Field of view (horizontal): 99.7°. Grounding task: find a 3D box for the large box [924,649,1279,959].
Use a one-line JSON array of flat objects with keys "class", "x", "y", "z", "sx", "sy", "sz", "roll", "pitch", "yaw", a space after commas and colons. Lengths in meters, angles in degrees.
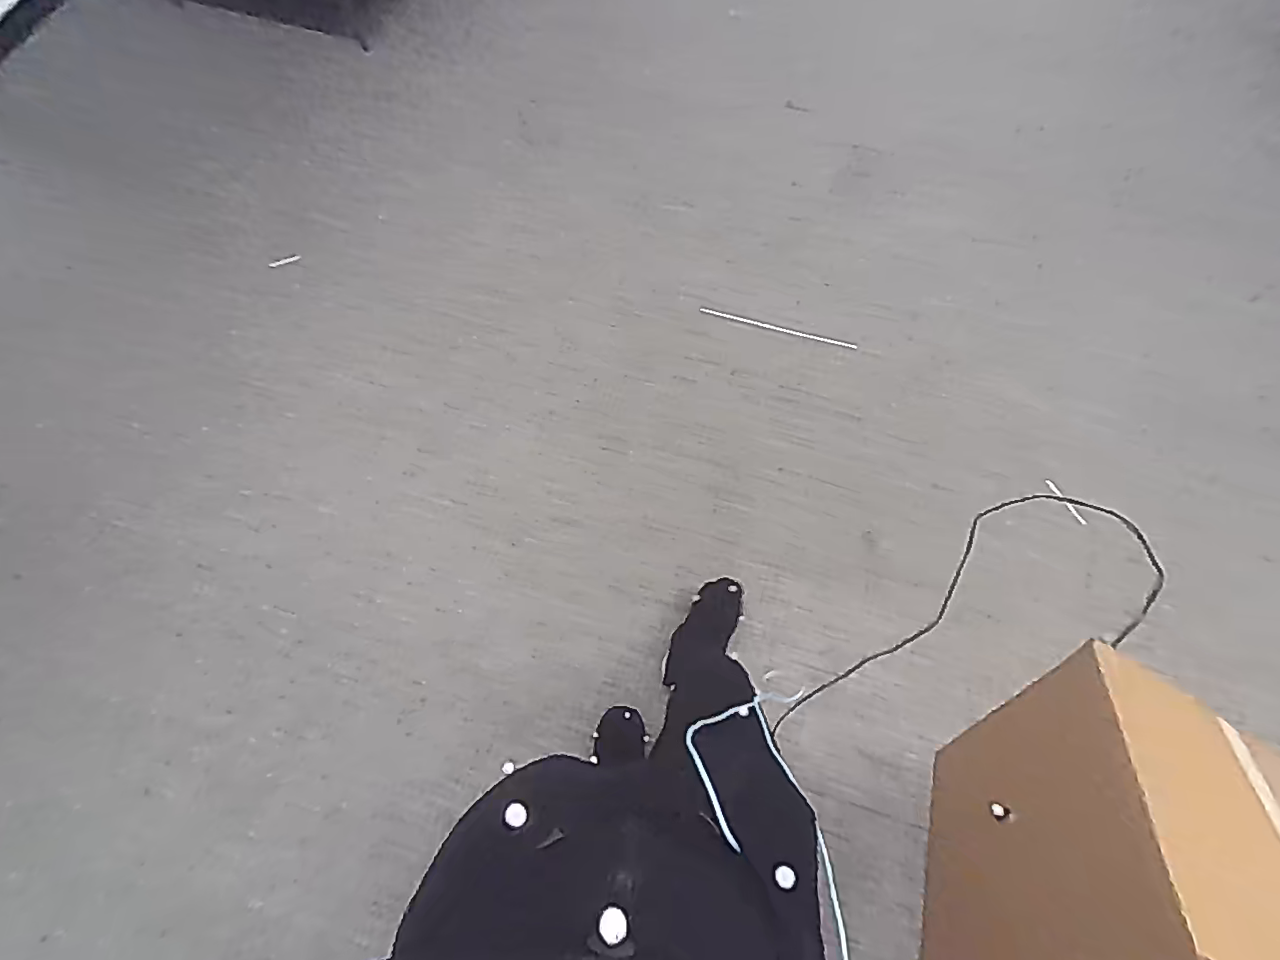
[{"class": "large box", "x": 0.554, "y": 0.485, "z": 0.595, "sx": 0.320, "sy": 0.320, "sz": 0.408, "roll": 37, "pitch": 33, "yaw": 14}]
